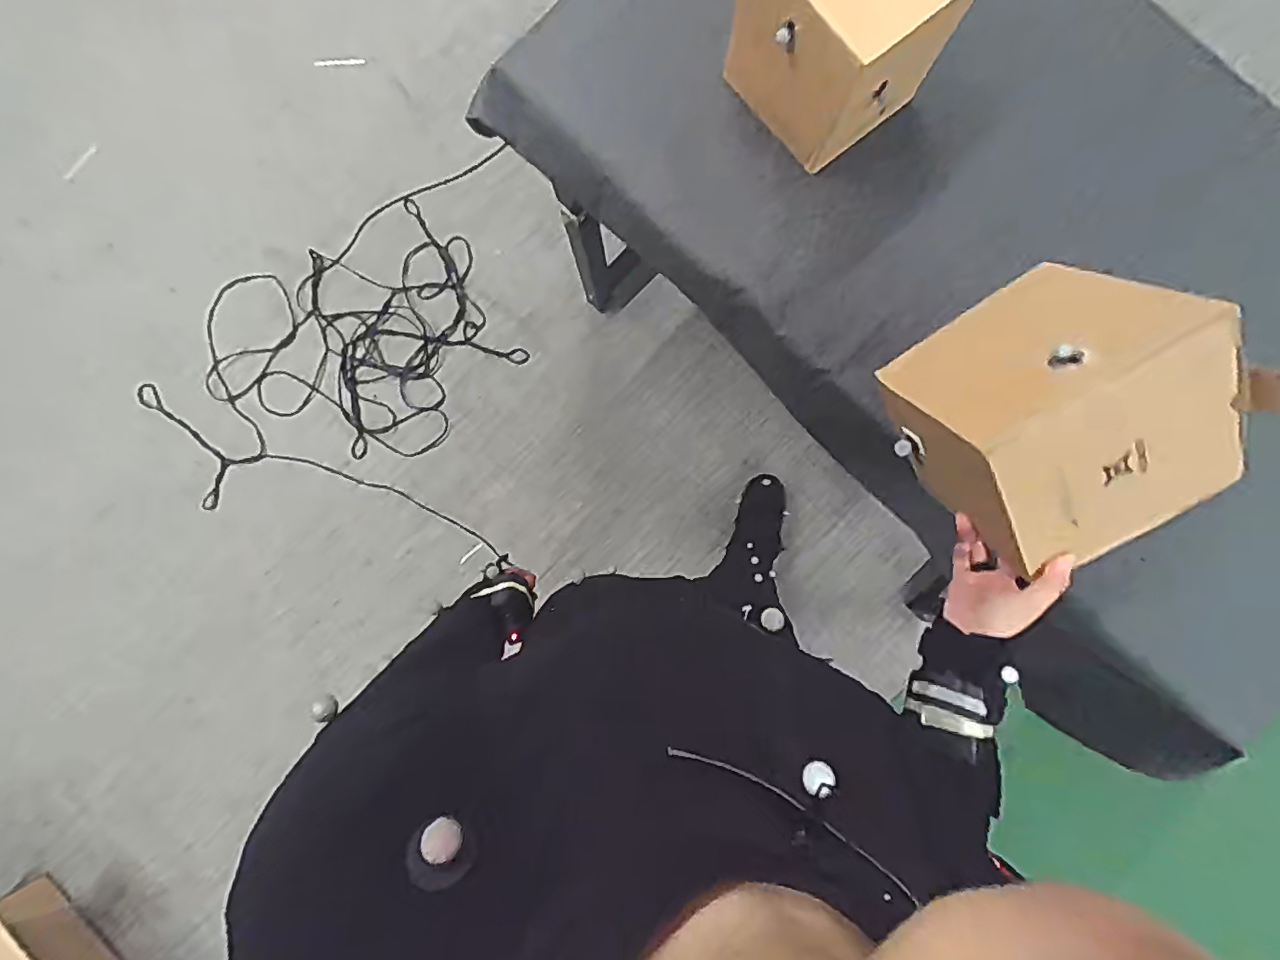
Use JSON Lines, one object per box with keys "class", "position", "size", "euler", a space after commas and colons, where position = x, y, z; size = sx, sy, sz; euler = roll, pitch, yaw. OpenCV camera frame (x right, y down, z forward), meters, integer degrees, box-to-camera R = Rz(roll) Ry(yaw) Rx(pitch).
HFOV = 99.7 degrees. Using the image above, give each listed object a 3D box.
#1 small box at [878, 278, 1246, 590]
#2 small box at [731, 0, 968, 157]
{"class": "small box", "position": [0.346, -0.047, 0.467], "size": [0.179, 0.176, 0.168], "euler": [-34, 120, 11]}
{"class": "small box", "position": [0.223, -0.500, 0.595], "size": [0.168, 0.176, 0.179], "euler": [-39, 86, -2]}
